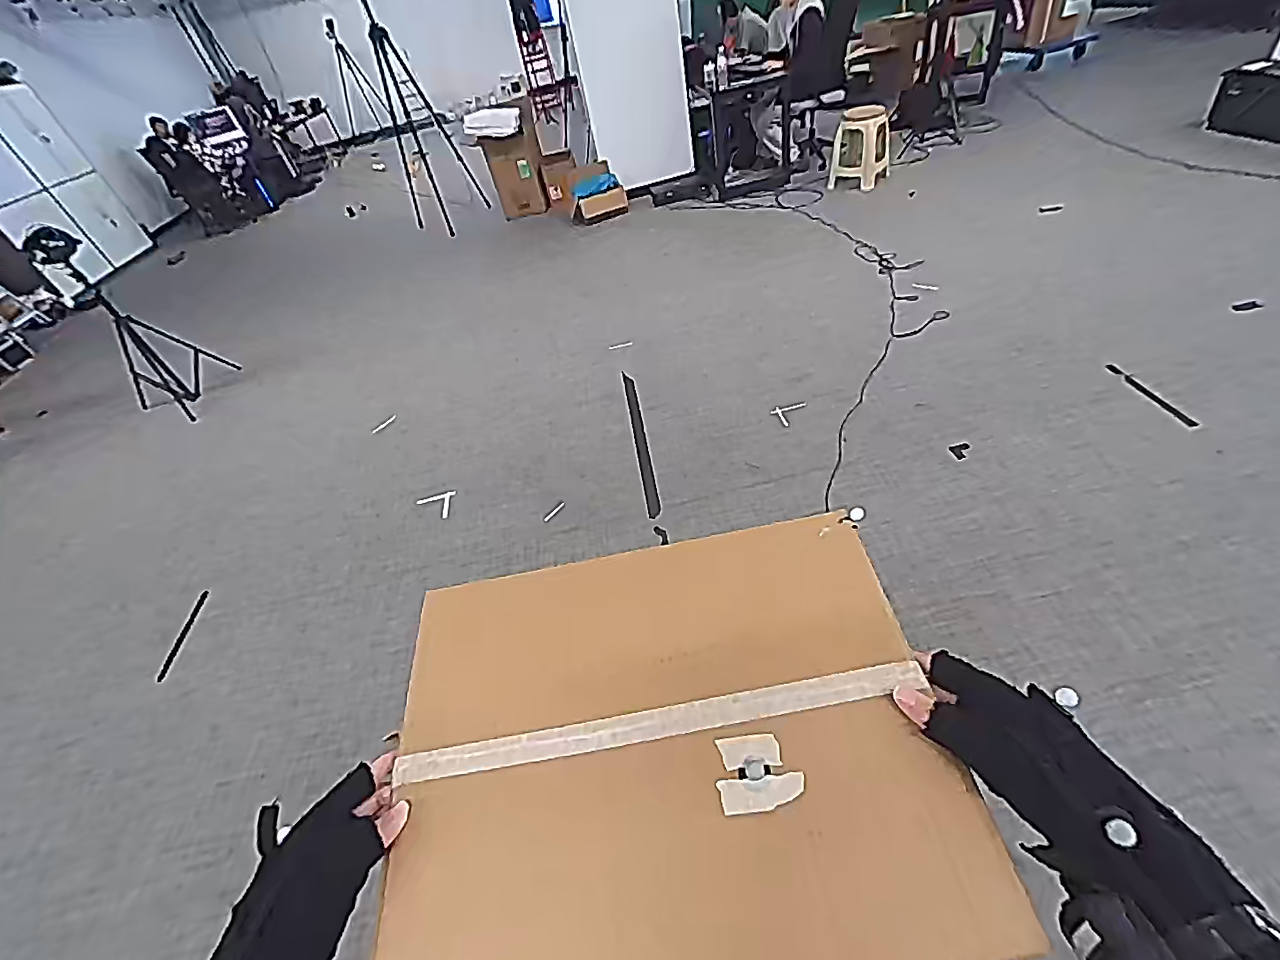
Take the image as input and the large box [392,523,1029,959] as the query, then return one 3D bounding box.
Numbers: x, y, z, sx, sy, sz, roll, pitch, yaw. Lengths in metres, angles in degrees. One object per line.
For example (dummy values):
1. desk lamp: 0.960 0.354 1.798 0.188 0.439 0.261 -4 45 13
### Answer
1. large box: 0.039 0.289 0.530 0.408 0.320 0.320 -11 50 2
